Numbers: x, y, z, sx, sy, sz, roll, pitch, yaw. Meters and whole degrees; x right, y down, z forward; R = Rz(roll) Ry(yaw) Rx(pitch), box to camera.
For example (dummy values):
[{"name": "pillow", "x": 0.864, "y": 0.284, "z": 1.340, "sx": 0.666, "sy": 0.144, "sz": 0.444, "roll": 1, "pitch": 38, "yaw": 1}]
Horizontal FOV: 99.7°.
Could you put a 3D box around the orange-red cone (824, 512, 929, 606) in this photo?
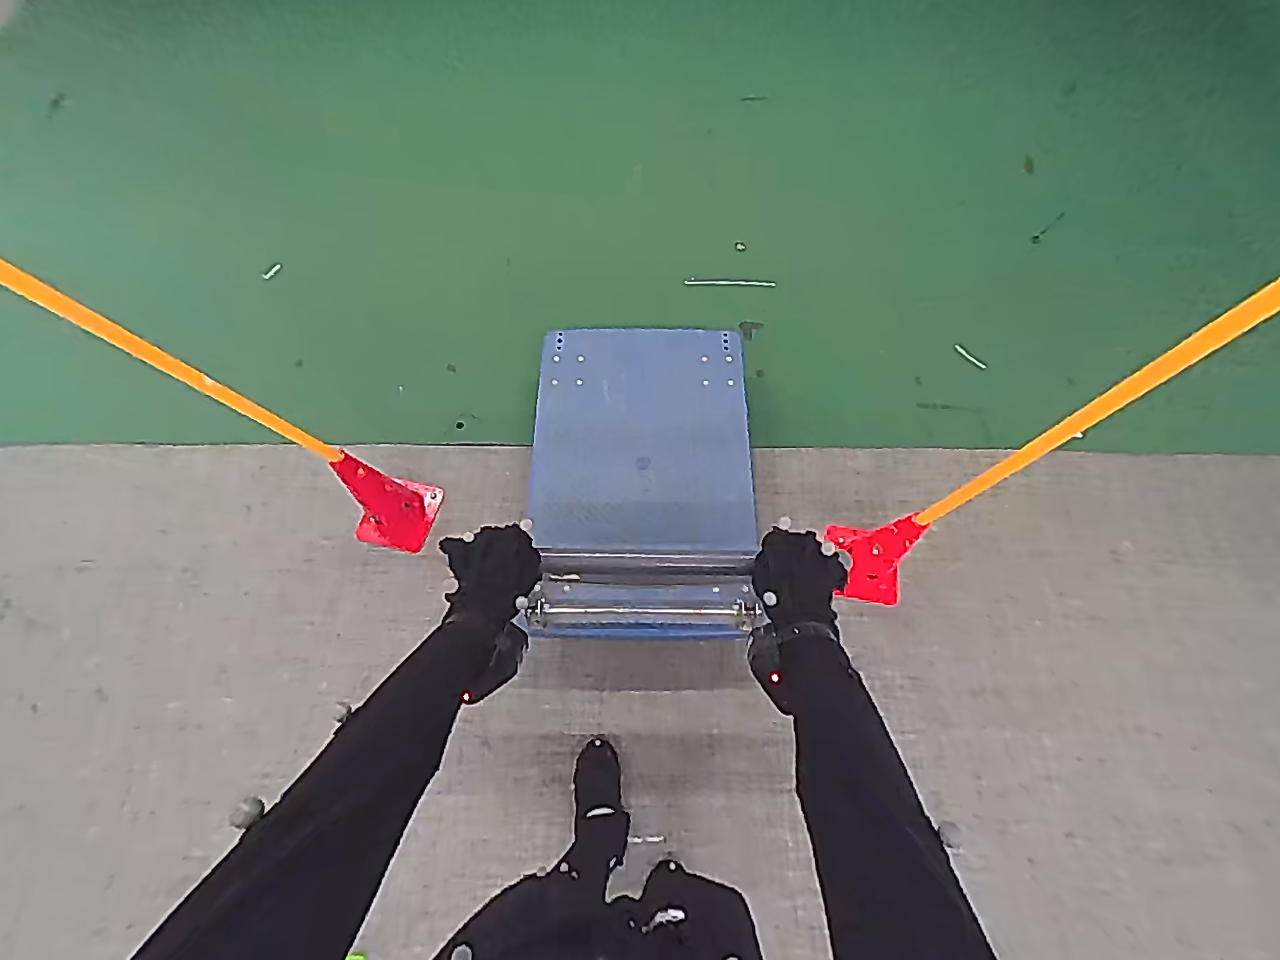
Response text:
[{"name": "orange-red cone", "x": 0.604, "y": 0.160, "z": 1.315, "sx": 0.198, "sy": 0.360, "sz": 0.199, "roll": 10, "pitch": 66, "yaw": 6}]
